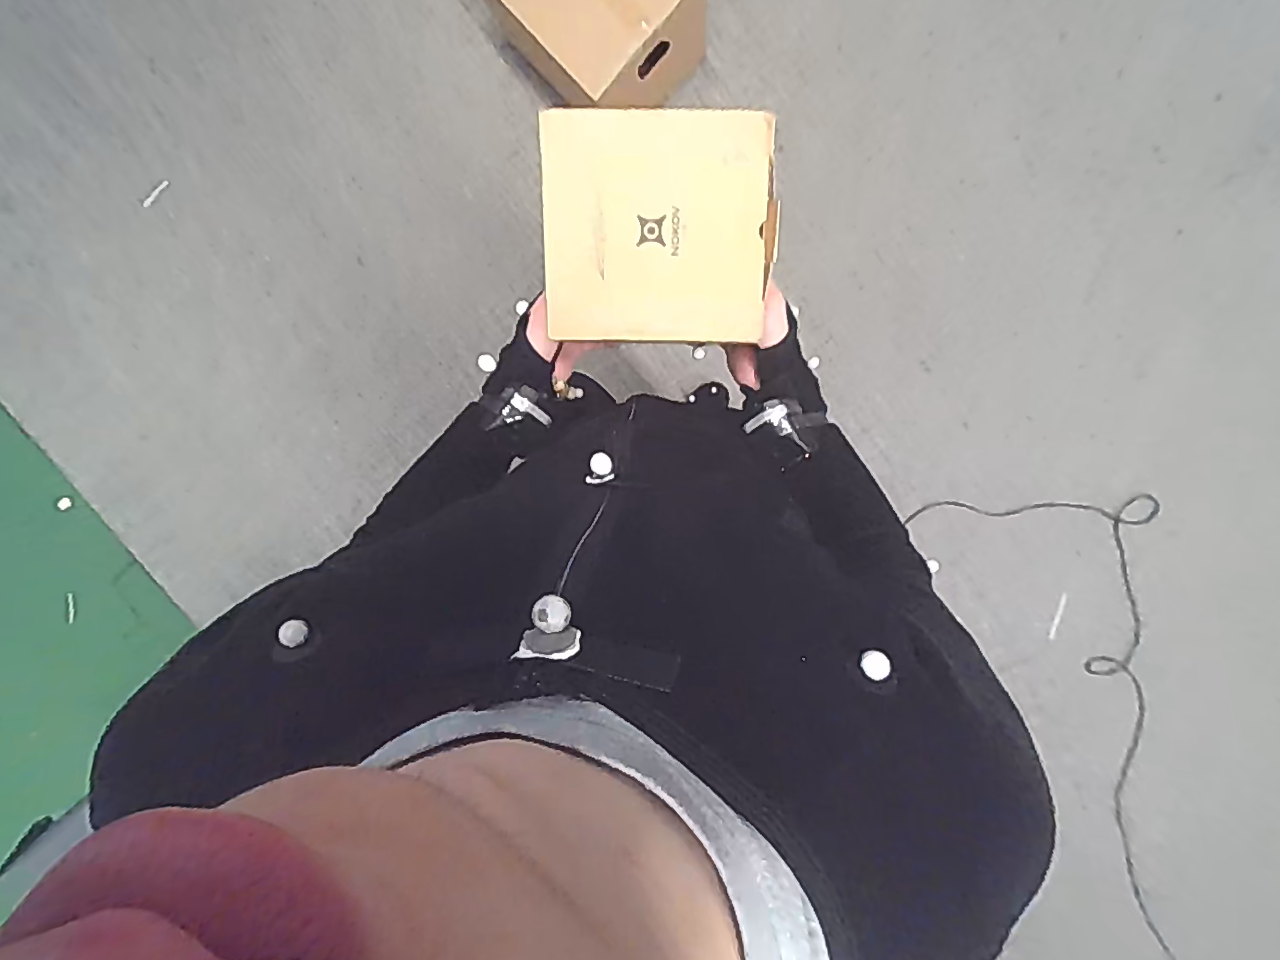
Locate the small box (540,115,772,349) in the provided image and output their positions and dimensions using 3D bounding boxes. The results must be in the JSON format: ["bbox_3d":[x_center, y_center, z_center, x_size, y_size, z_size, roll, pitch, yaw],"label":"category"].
[{"bbox_3d":[0.012,-0.208,0.496,0.179,0.176,0.168,0,102,1],"label":"small box"}]
